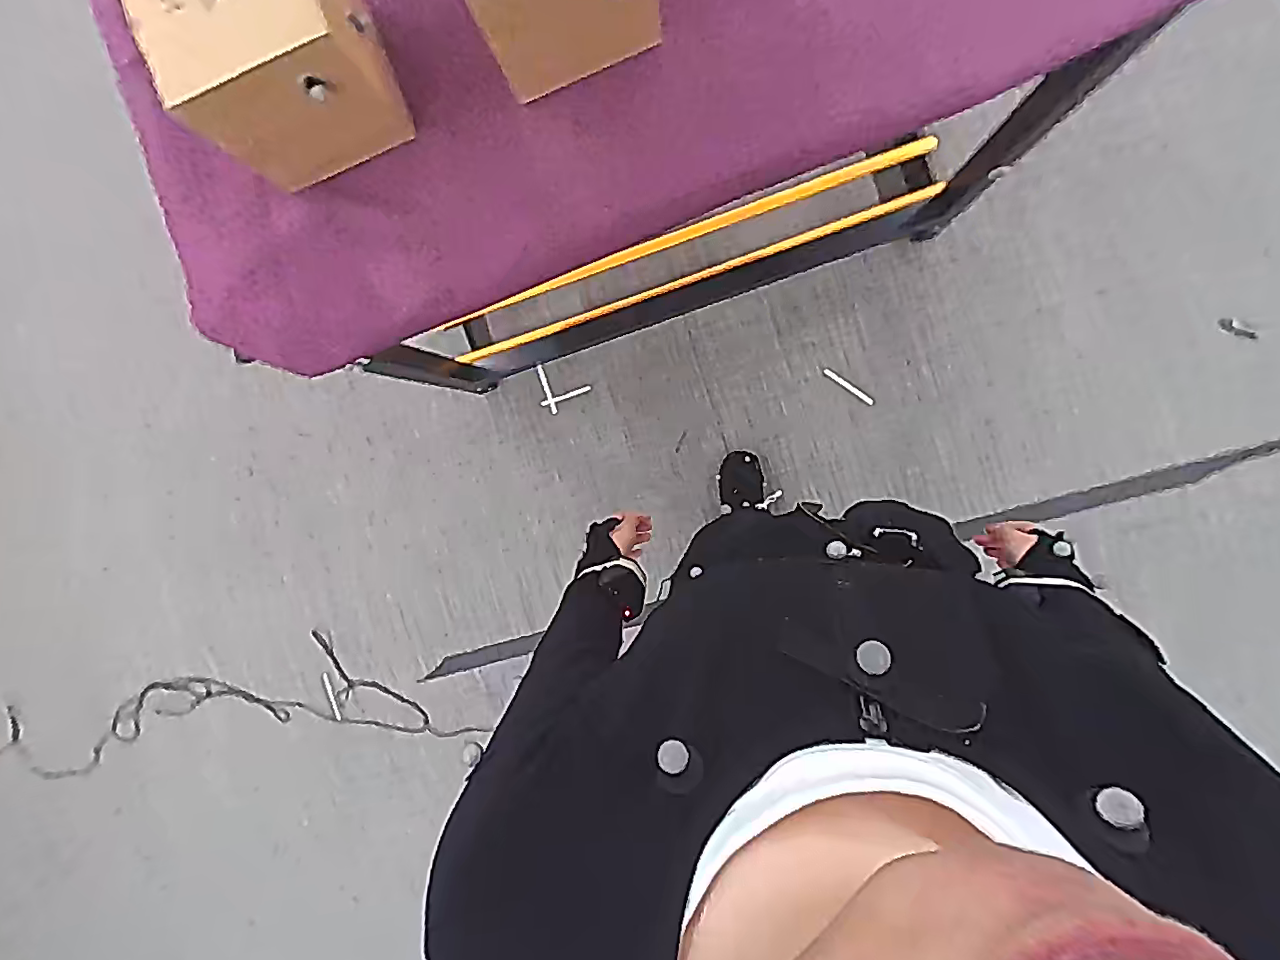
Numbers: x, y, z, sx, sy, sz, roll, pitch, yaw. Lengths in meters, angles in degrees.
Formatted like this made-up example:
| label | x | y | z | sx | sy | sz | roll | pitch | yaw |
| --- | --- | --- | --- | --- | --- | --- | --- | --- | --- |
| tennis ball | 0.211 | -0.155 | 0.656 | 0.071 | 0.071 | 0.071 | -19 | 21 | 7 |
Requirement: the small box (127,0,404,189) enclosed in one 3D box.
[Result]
| label | x | y | z | sx | sy | sz | roll | pitch | yaw |
| --- | --- | --- | --- | --- | --- | --- | --- | --- | --- |
| small box | -0.382 | -0.454 | 0.577 | 0.179 | 0.176 | 0.168 | -21 | 91 | 5 |
